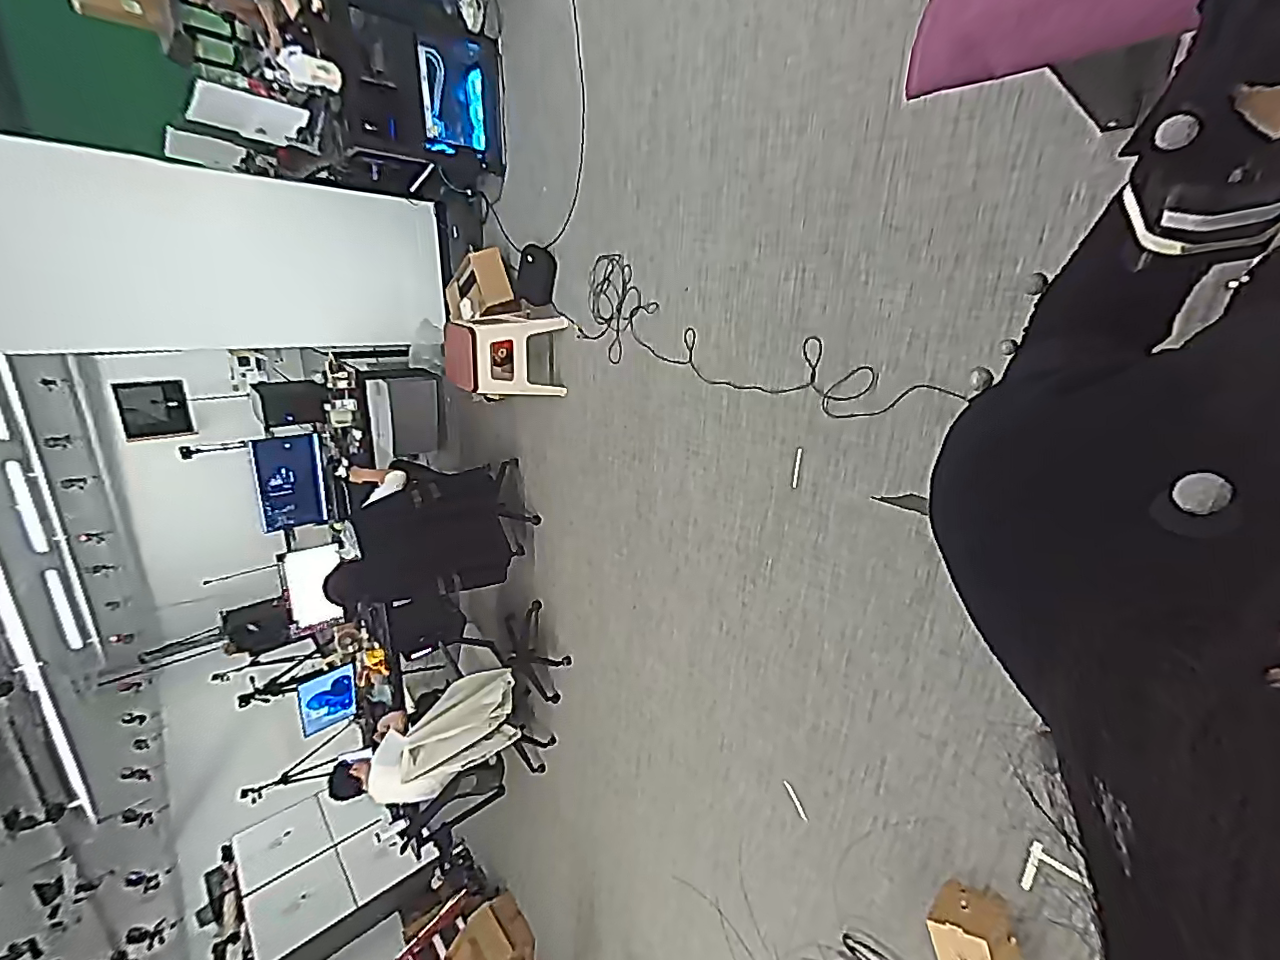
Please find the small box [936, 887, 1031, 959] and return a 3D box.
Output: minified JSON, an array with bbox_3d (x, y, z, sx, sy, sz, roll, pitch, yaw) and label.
[{"bbox_3d":[0.987,1.325,1.550,0.168,0.176,0.179,-19,86,50],"label":"small box"}]
